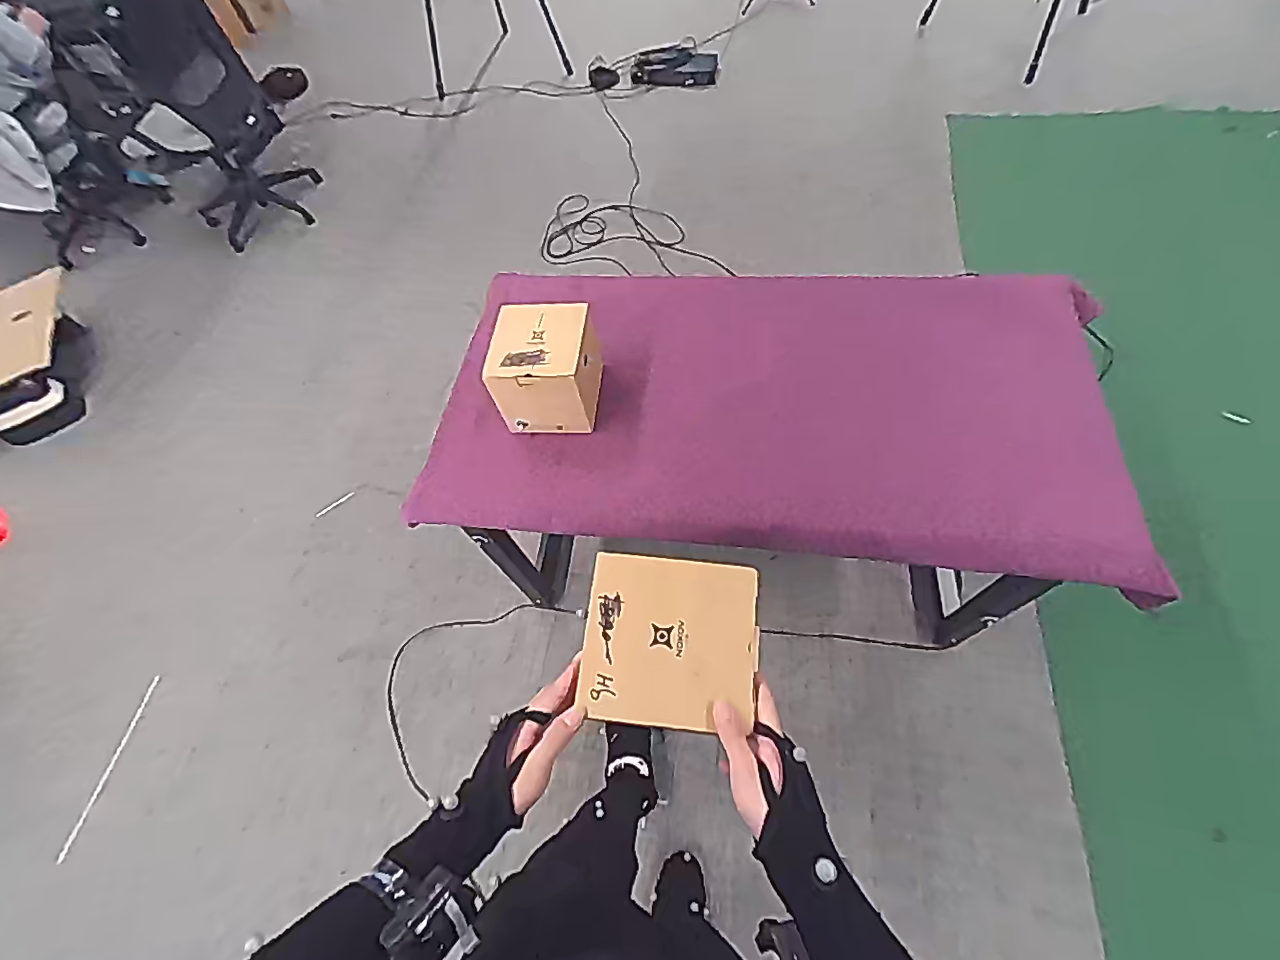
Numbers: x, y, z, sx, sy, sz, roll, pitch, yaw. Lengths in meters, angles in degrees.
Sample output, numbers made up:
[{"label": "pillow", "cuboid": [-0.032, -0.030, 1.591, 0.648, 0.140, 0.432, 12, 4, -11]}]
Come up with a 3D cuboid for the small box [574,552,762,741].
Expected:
[{"label": "small box", "cuboid": [0.031, 0.195, 0.615, 0.179, 0.176, 0.168, 7, 64, 3]}]

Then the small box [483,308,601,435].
[{"label": "small box", "cuboid": [-0.172, -0.198, 1.017, 0.168, 0.176, 0.179, 1, 59, 7]}]
